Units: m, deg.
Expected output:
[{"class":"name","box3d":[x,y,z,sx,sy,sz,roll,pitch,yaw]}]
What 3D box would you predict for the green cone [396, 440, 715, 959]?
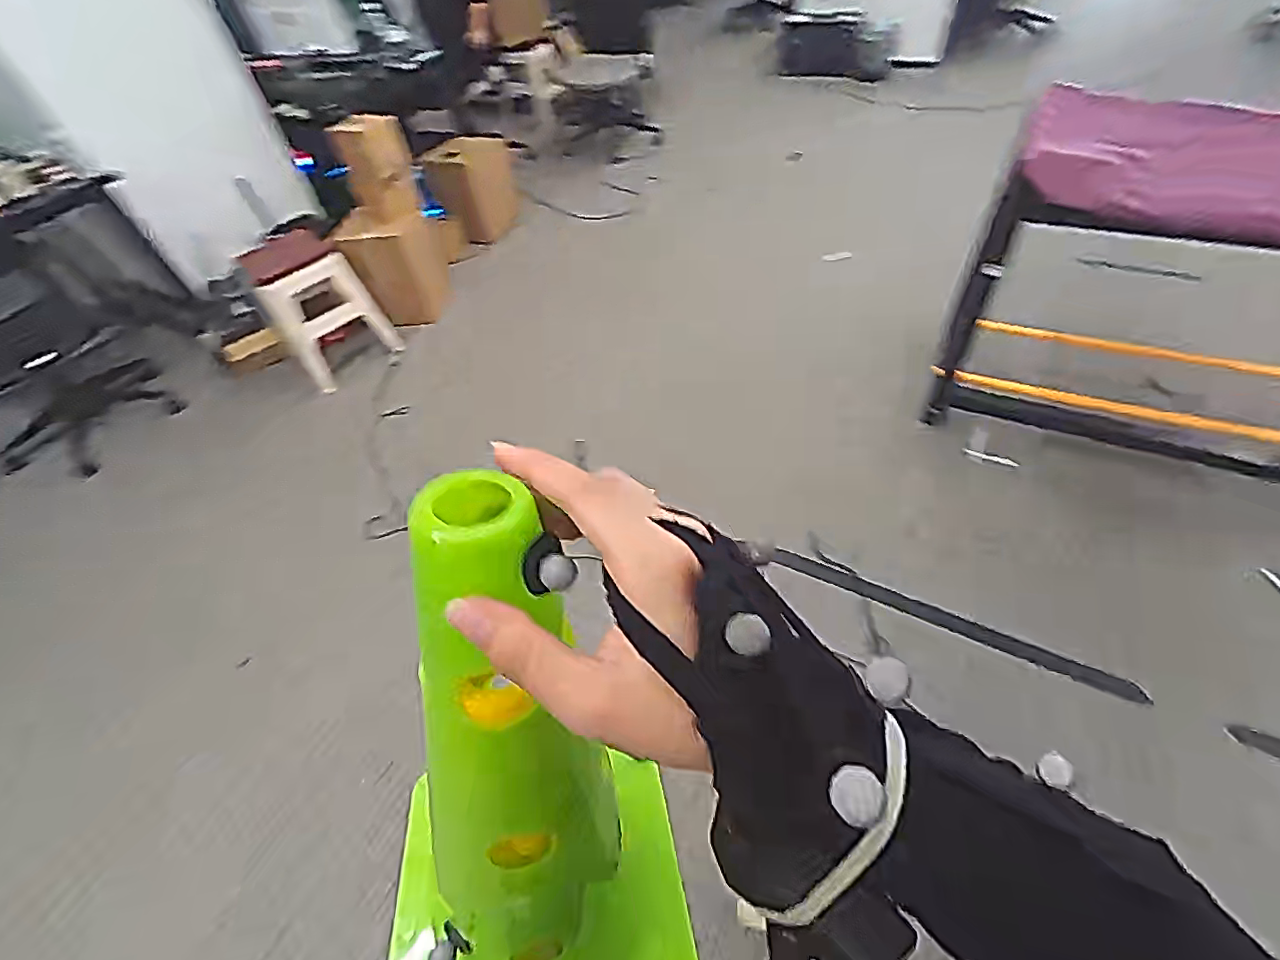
[{"class":"green cone","box3d":[-0.055,0.137,0.280,0.200,0.368,0.202,-4,38,-9]}]
